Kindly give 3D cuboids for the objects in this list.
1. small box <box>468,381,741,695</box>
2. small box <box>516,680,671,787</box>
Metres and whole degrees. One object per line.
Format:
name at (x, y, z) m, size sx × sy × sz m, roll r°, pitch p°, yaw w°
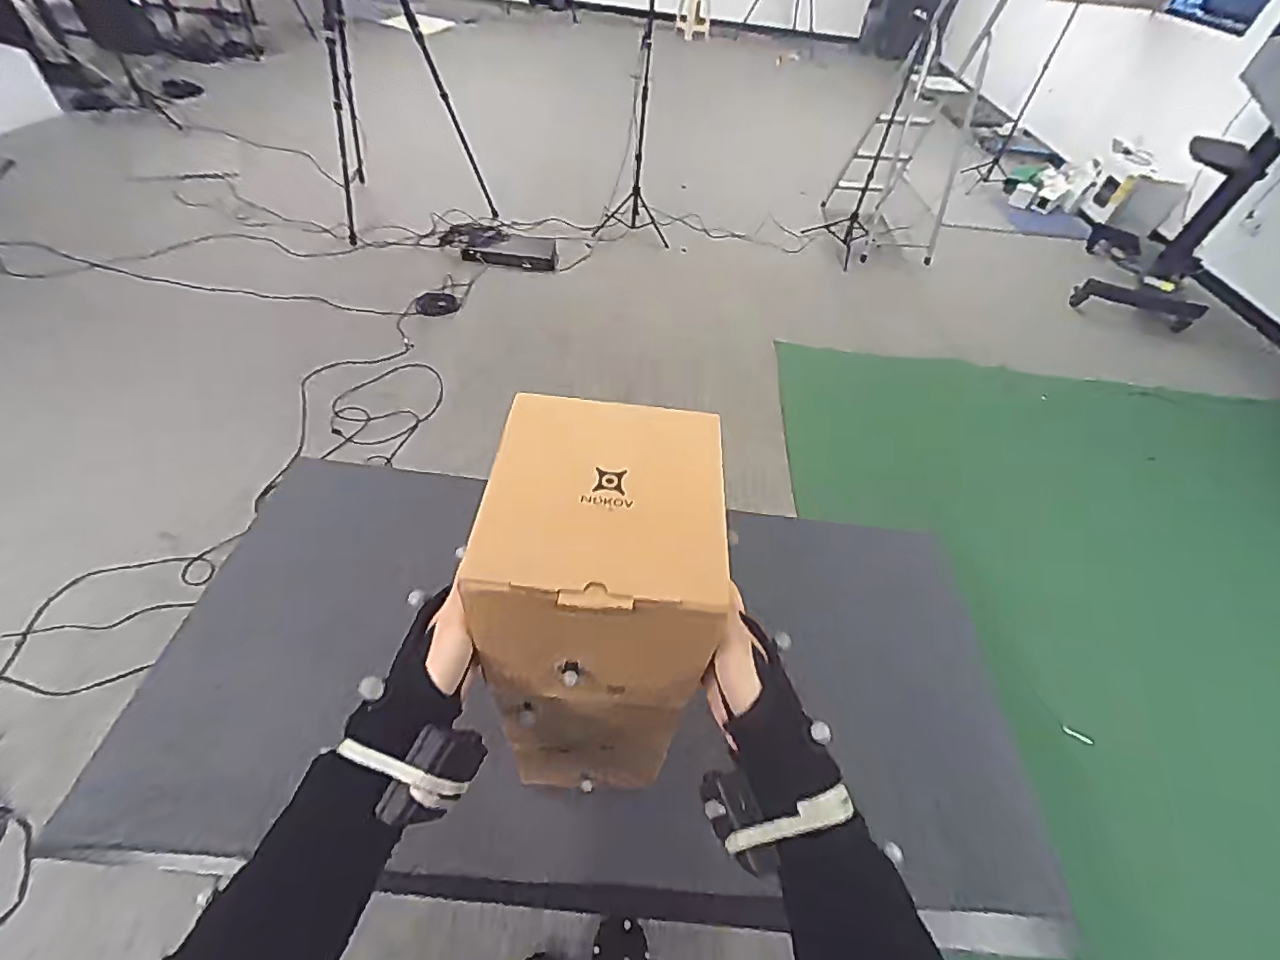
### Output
small box at (-0.025, 0.048, 0.430) m, size 0.168 × 0.176 × 0.179 m, roll 6°, pitch 48°, yaw -3°
small box at (-0.054, 0.262, 0.675) m, size 0.168 × 0.176 × 0.179 m, roll 4°, pitch 48°, yaw -3°
